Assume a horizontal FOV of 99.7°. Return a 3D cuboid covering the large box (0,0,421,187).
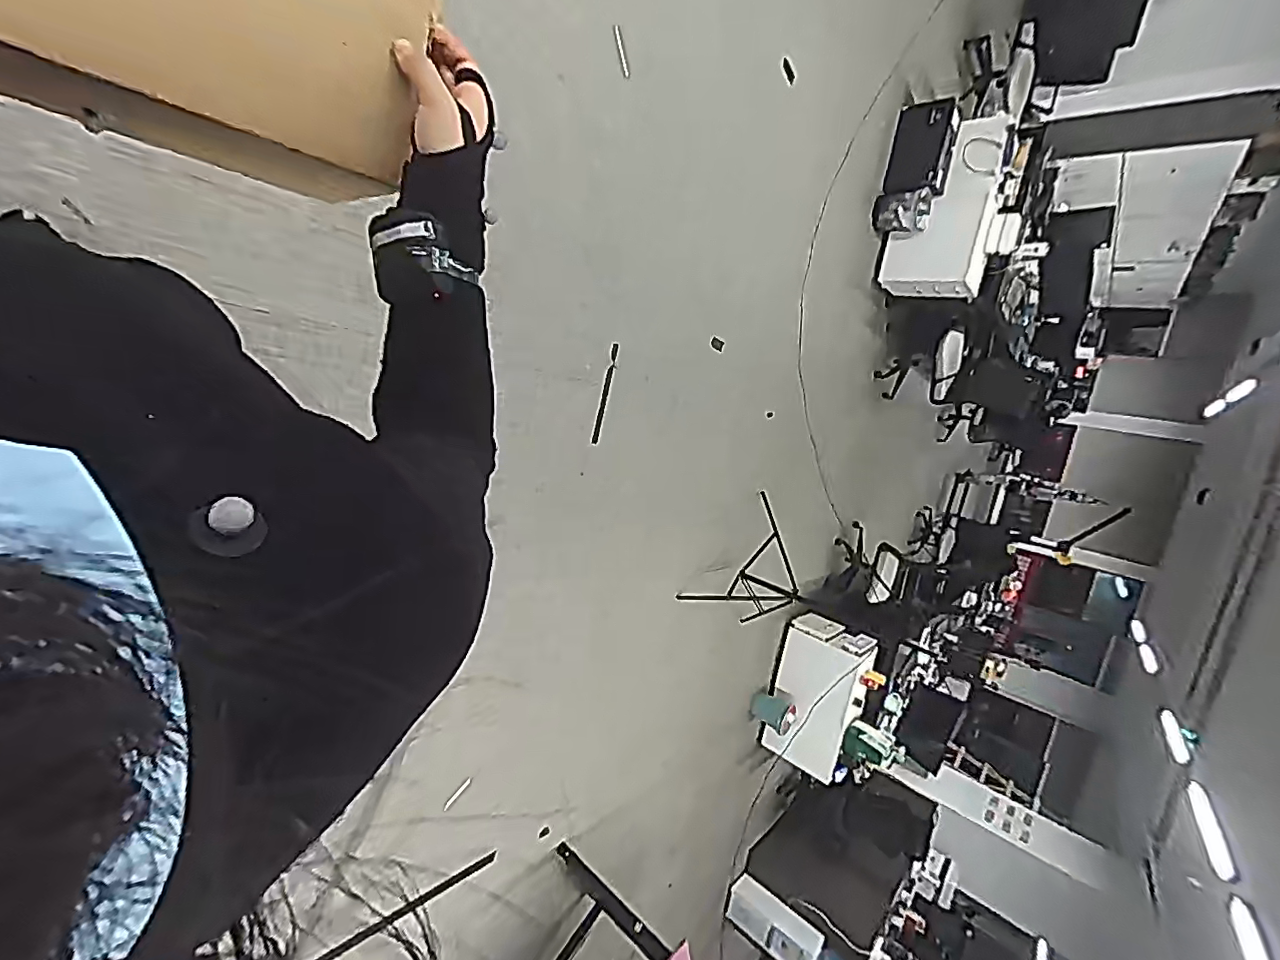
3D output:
[{"bbox_3d":[-0.406,-0.454,0.402,0.408,0.320,0.320,3,107,-40],"label":"large box"}]
